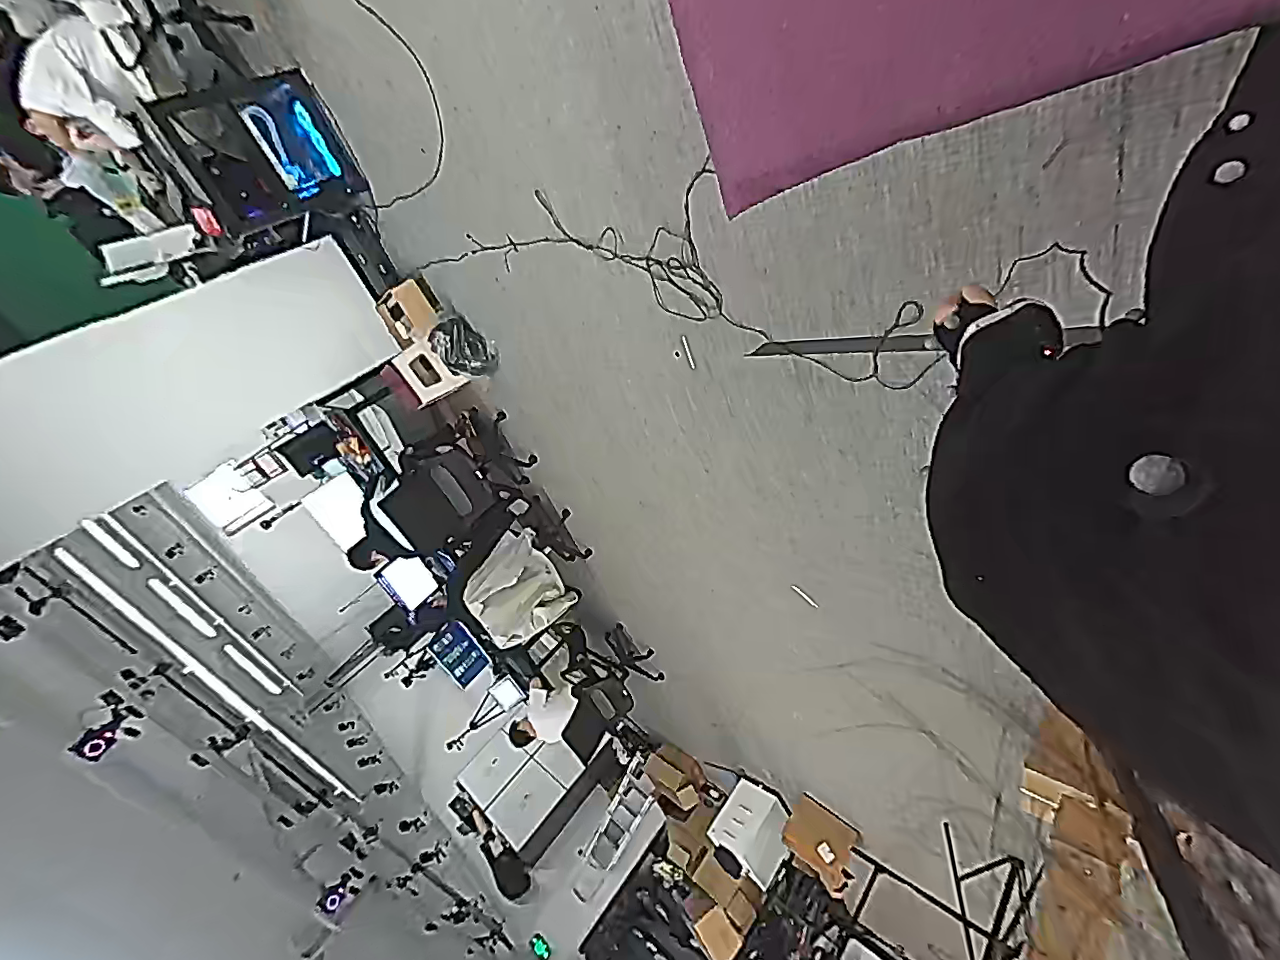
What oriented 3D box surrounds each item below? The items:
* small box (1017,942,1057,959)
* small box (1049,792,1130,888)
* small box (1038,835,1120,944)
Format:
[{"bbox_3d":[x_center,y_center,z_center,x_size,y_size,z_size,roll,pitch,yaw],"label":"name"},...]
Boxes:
[{"bbox_3d":[1.120,1.424,1.477,0.168,0.176,0.179,13,136,45],"label":"small box"},{"bbox_3d":[1.436,1.146,1.729,0.179,0.176,0.168,11,133,48],"label":"small box"},{"bbox_3d":[1.332,1.235,1.642,0.168,0.176,0.179,11,133,46],"label":"small box"}]
